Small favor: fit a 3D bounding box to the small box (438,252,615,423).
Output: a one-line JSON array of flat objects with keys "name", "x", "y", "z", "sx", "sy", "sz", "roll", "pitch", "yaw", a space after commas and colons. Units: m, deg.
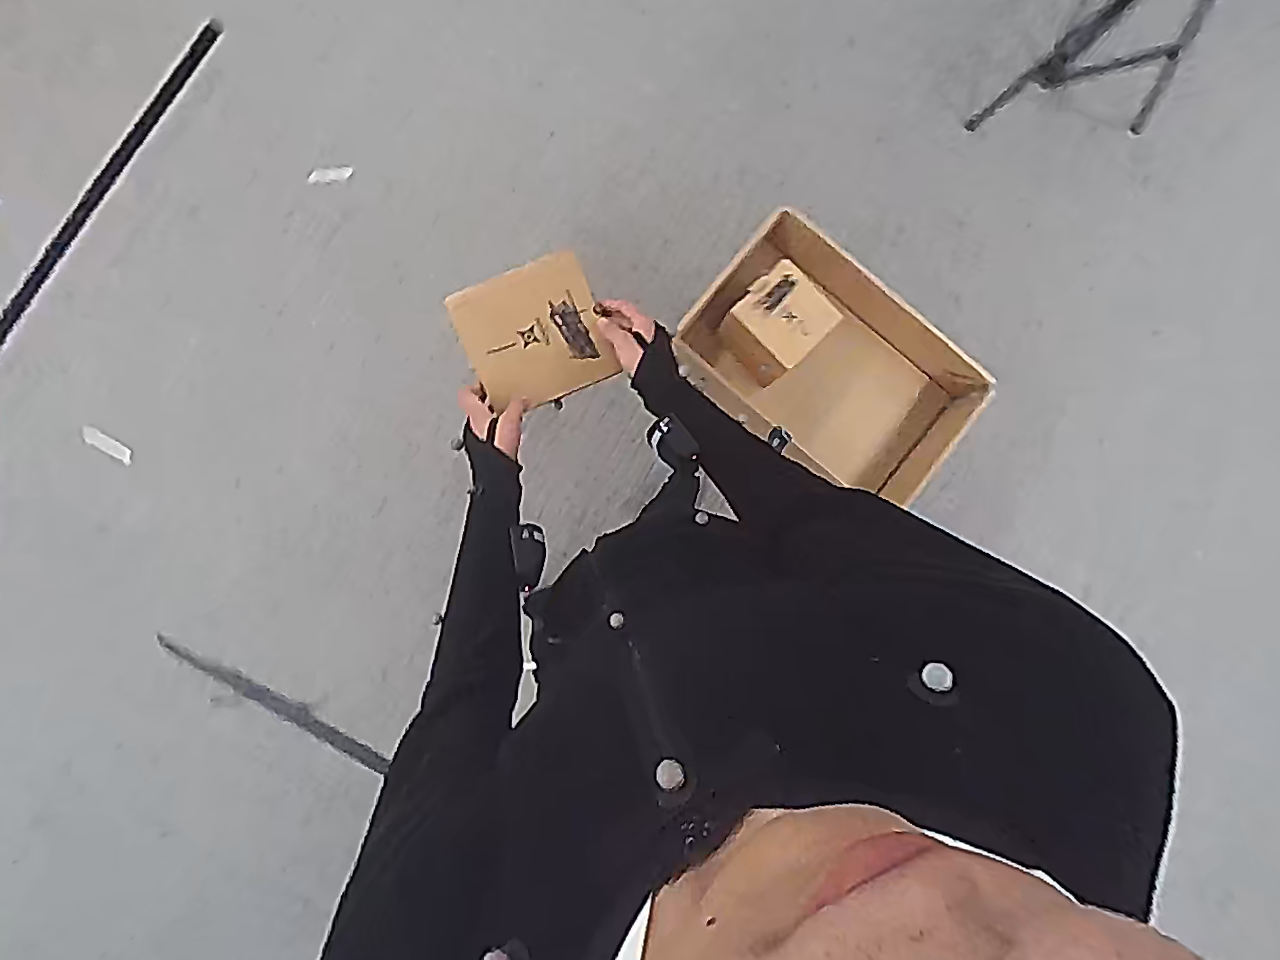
[{"name": "small box", "x": -0.153, "y": -0.191, "z": 0.758, "sx": 0.179, "sy": 0.176, "sz": 0.168, "roll": -24, "pitch": 101, "yaw": -5}]
